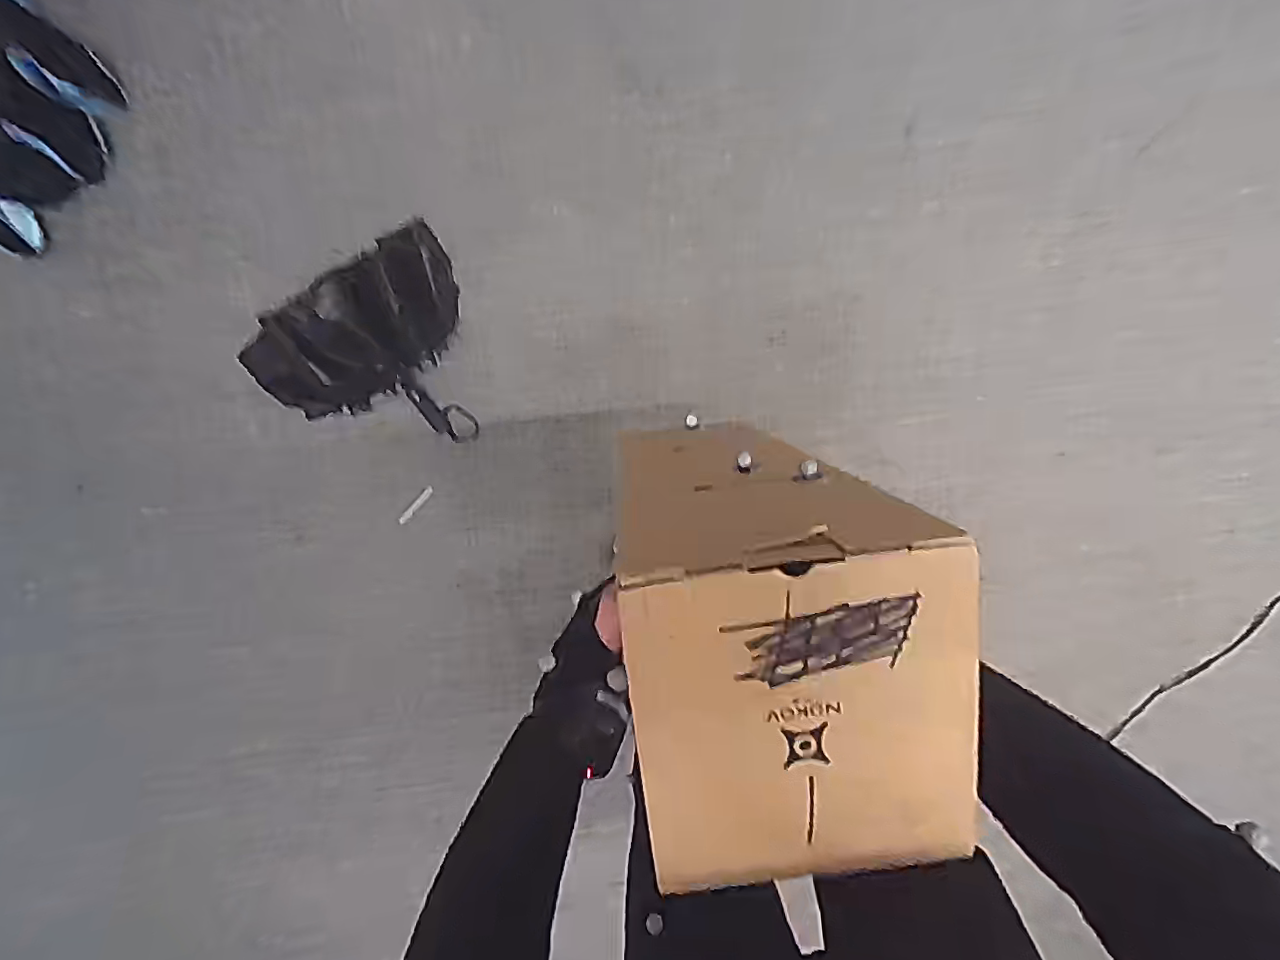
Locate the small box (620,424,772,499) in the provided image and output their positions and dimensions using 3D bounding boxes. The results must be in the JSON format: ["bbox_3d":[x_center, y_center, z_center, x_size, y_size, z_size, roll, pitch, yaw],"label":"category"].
[{"bbox_3d":[0.069,0.031,0.678,0.168,0.176,0.179,-8,100,0],"label":"small box"}]

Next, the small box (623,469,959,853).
[{"bbox_3d":[0.079,0.093,0.355,0.168,0.176,0.179,-7,102,1],"label":"small box"}]
